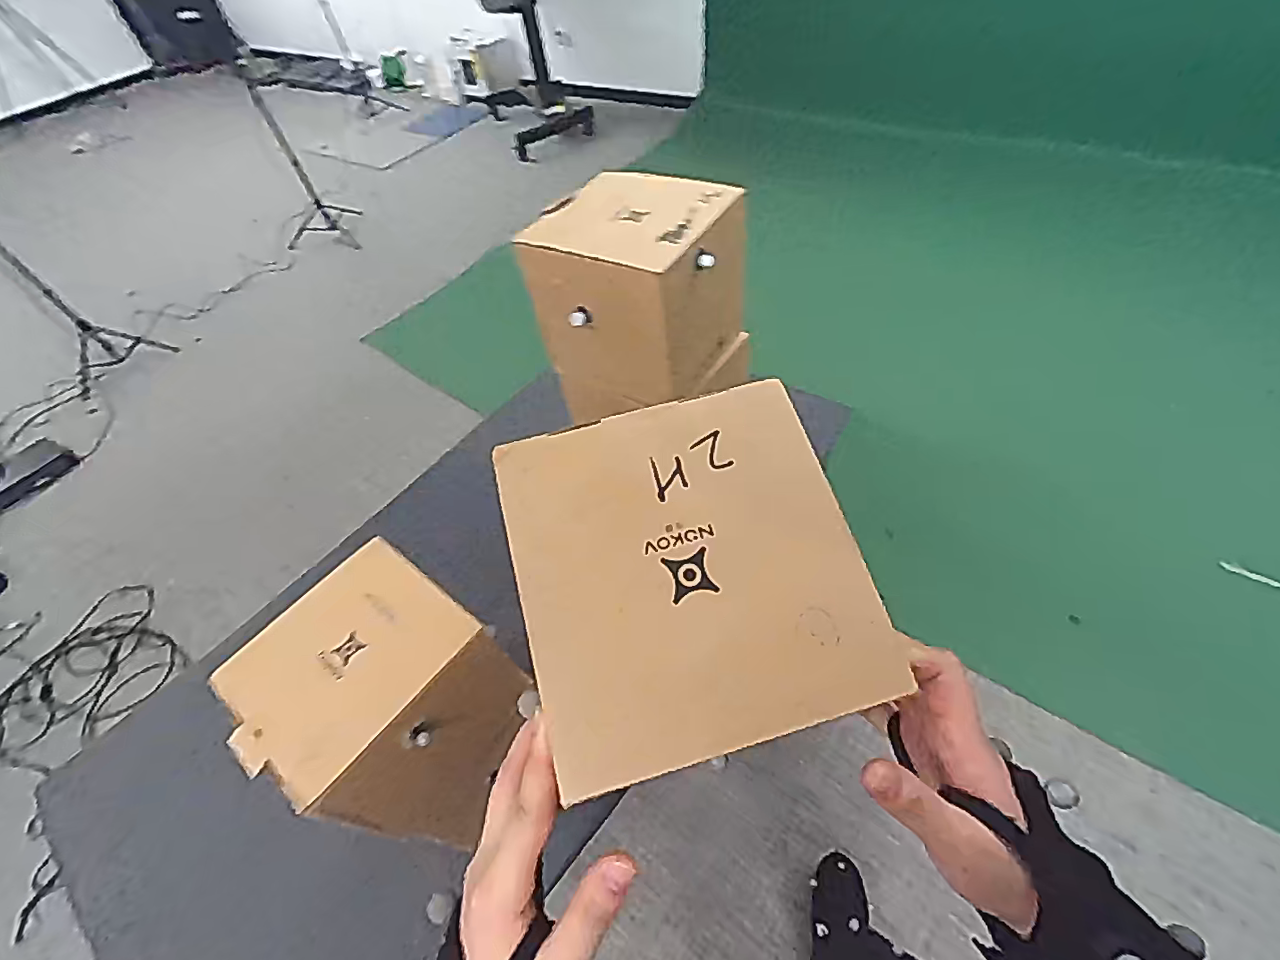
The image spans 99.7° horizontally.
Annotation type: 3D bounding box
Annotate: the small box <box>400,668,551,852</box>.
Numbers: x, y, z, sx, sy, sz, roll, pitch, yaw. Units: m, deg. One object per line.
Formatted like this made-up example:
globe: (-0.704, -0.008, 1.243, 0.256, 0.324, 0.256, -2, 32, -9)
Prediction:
small box: (-0.220, 0.297, 0.638, 0.168, 0.176, 0.179, 27, 61, 27)

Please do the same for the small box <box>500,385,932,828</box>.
small box: (0.027, 0.074, 0.328, 0.168, 0.176, 0.179, -14, 68, -6)

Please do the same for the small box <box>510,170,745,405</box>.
small box: (-0.002, -0.206, 0.582, 0.179, 0.176, 0.168, 23, 59, 26)

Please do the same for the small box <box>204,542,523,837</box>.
small box: (-0.239, 0.199, 0.510, 0.168, 0.176, 0.179, 28, 60, 26)
